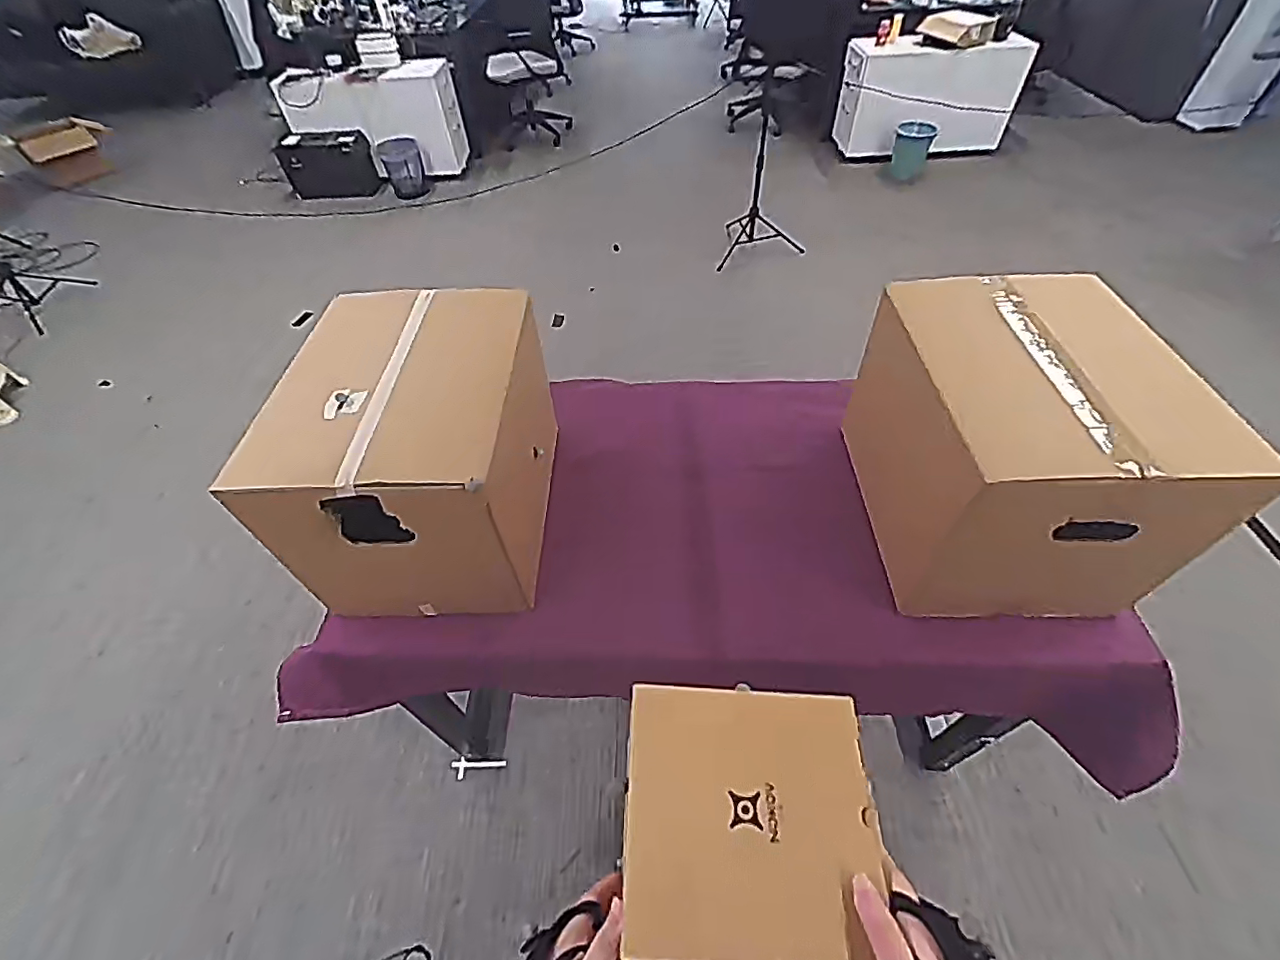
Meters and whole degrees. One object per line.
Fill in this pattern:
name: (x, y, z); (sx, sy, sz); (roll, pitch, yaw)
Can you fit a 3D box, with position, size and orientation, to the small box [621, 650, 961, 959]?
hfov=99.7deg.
small box: (0.094, 0.258, 0.402); (0.168, 0.176, 0.179); (15, 30, -15)
